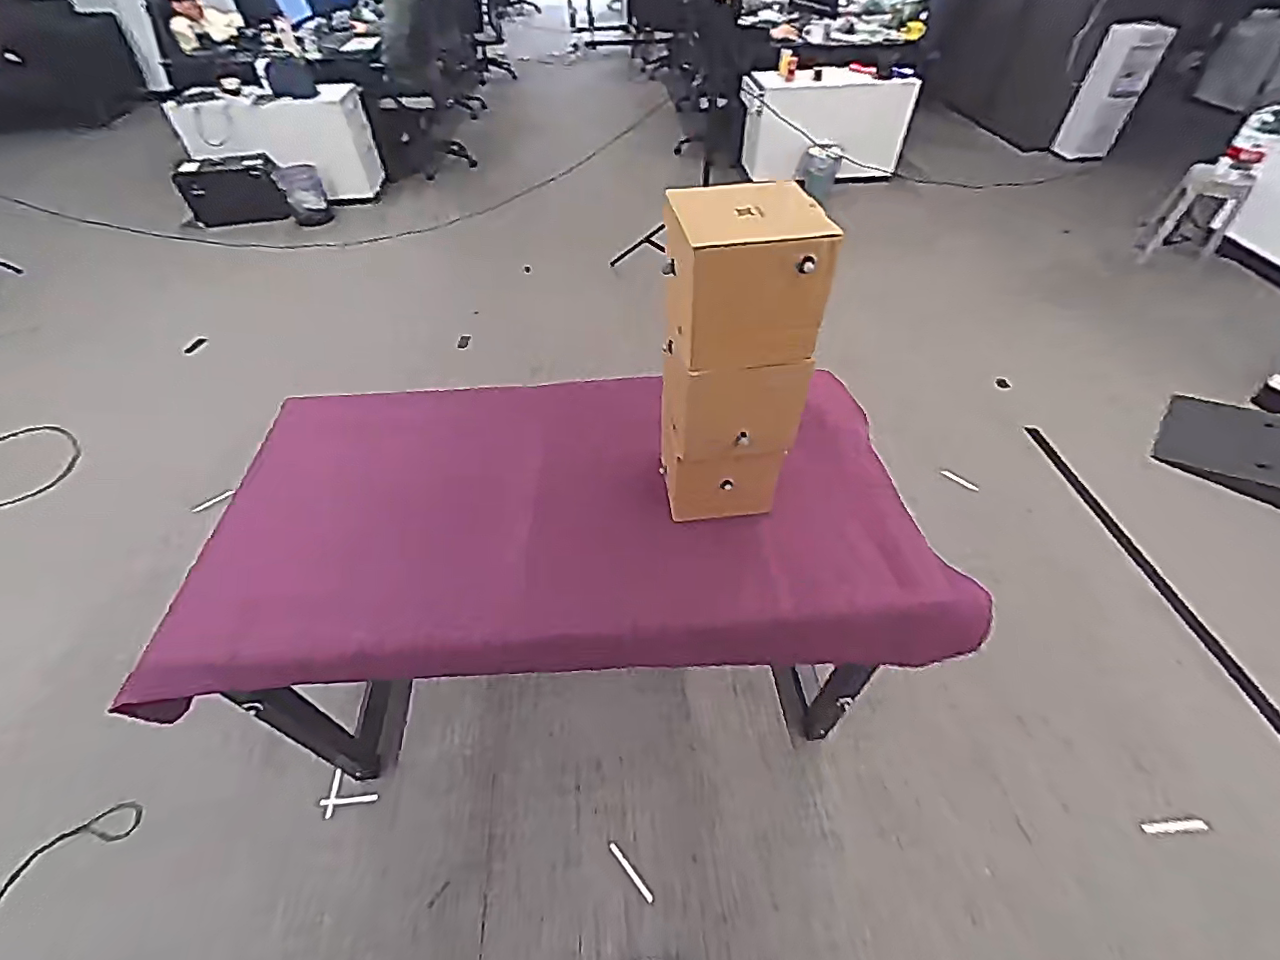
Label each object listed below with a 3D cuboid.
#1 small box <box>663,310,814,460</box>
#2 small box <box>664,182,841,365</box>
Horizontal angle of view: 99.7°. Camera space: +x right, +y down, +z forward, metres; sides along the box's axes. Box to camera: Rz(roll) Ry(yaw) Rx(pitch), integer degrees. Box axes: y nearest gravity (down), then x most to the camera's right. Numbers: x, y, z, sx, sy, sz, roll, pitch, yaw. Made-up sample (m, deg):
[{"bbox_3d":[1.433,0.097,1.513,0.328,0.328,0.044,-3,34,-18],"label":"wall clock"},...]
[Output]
[{"bbox_3d":[0.136,-0.150,0.822,0.179,0.176,0.168,-7,48,-6],"label":"small box"},{"bbox_3d":[0.131,-0.266,0.707,0.179,0.176,0.168,-7,48,-5],"label":"small box"}]
